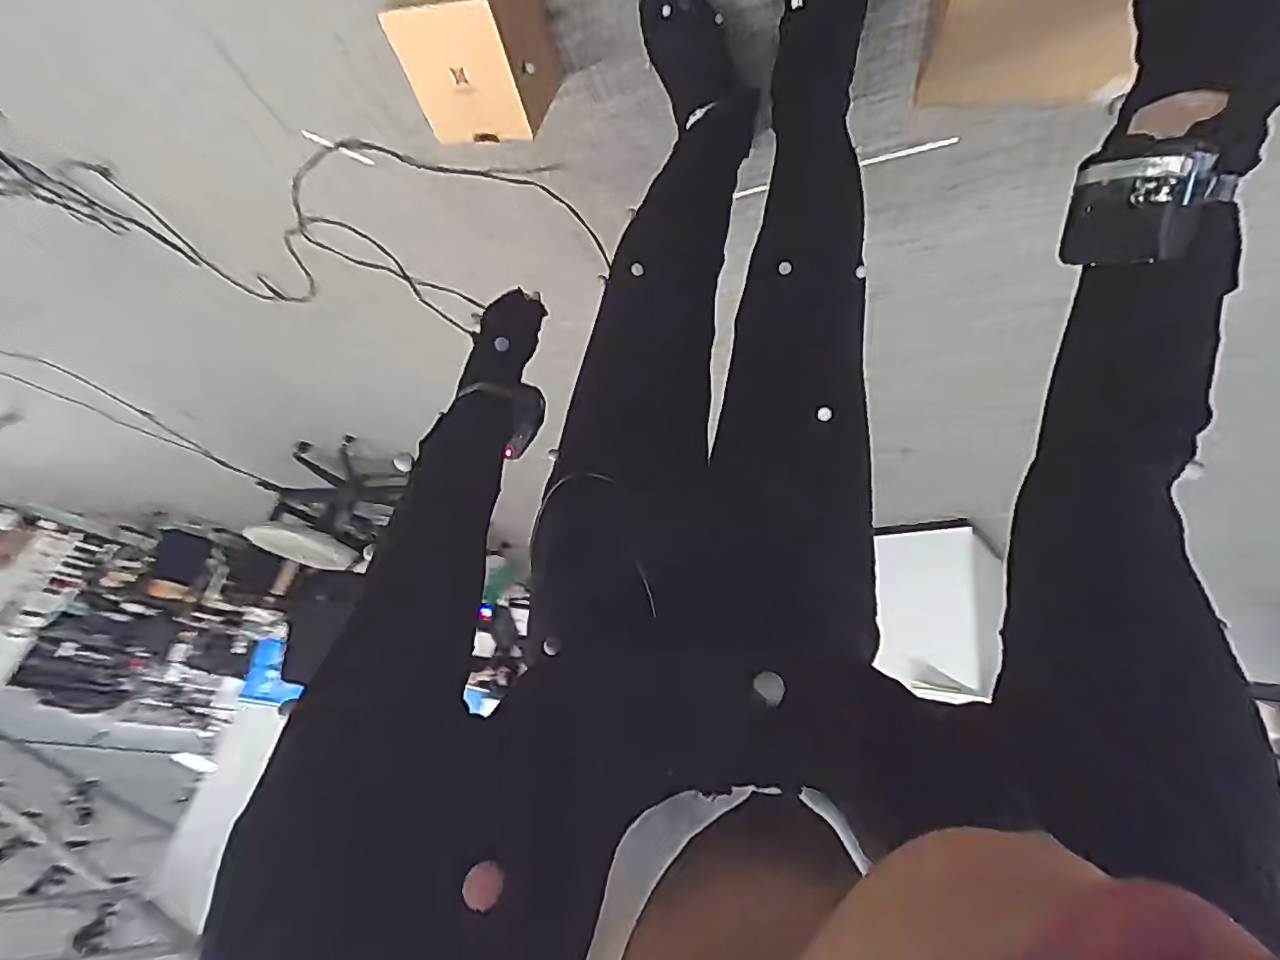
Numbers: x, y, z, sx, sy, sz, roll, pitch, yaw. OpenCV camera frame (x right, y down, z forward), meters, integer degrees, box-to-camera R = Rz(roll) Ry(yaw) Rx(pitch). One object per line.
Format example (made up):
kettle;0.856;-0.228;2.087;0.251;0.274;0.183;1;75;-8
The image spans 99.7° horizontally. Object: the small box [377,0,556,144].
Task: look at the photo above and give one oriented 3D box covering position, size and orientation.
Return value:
small box;-0.242;-0.639;0.800;0.168;0.176;0.179;6;155;14
